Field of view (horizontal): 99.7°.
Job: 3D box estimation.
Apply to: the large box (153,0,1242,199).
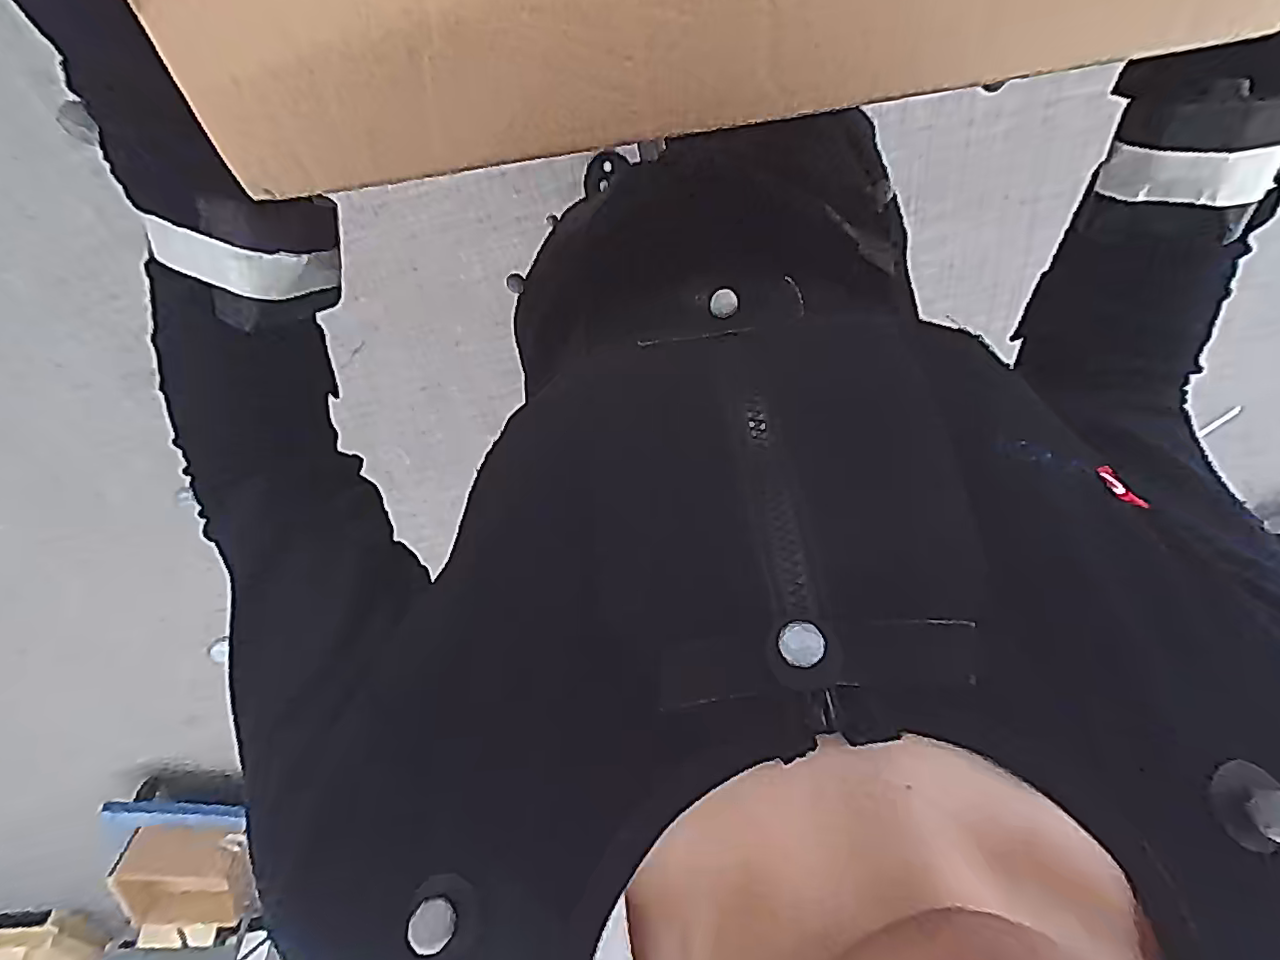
[{"bbox_3d":[0.009,-0.360,0.217,0.408,0.320,0.320,-8,135,2],"label":"large box"}]
